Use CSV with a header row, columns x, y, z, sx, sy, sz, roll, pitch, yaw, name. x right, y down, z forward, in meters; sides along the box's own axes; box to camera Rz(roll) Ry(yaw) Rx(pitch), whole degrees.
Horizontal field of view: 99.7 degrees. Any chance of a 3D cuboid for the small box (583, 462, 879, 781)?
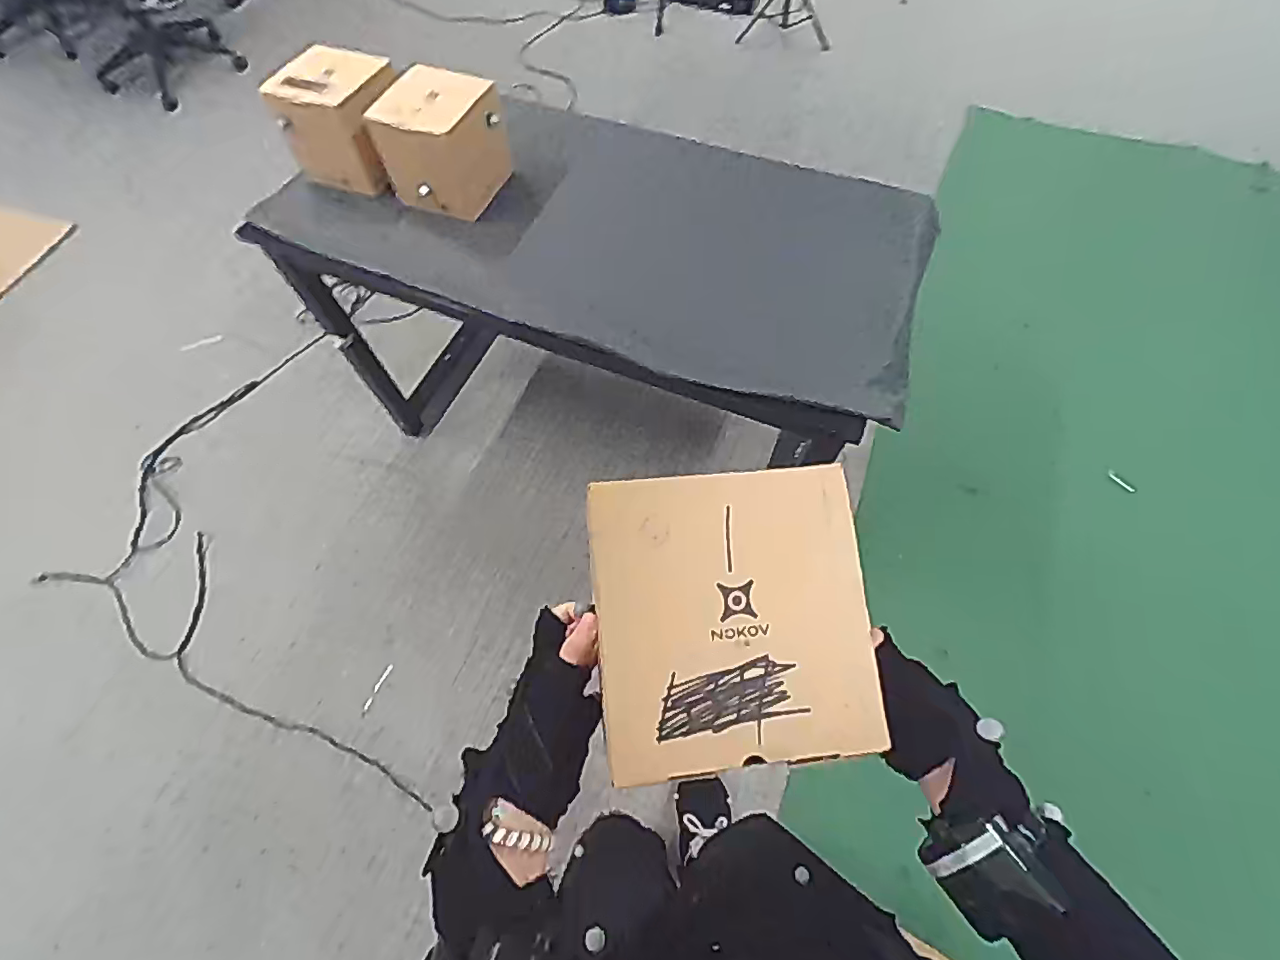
x,y,z,sx,sy,sz,roll,pitch,yaw,name
0.046,0.092,0.402,0.168,0.176,0.179,-4,79,-7,small box
